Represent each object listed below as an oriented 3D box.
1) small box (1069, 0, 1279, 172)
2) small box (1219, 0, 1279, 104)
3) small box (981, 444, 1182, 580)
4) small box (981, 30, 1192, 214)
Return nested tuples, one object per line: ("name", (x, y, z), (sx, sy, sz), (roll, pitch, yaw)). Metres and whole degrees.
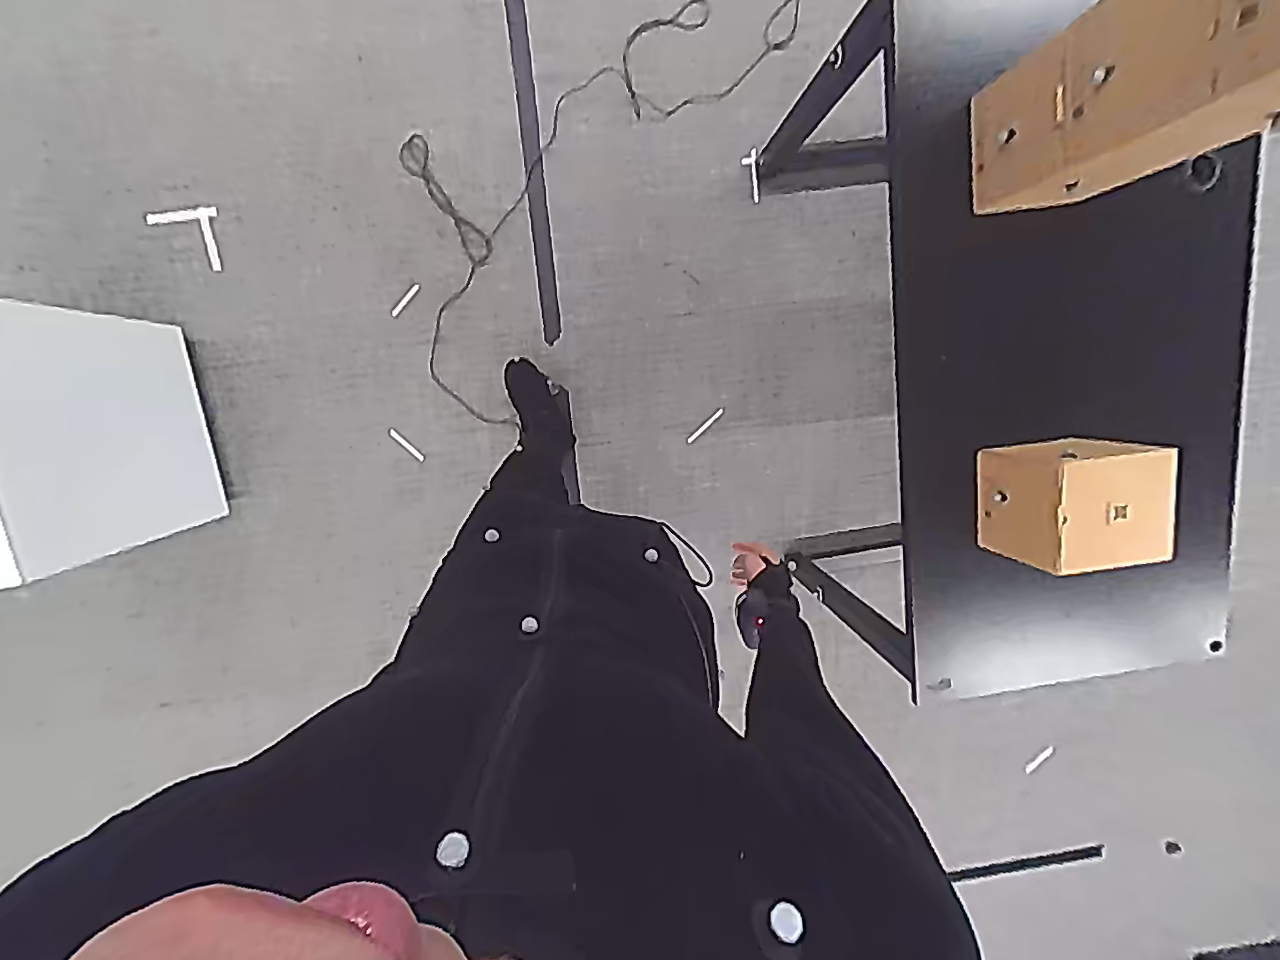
("small box", (0.618, -0.459, 0.584), (0.179, 0.176, 0.168), (-8, 99, -3))
("small box", (0.631, -0.432, 0.424), (0.179, 0.176, 0.168), (-8, 99, -3))
("small box", (0.669, 0.040, 0.837), (0.179, 0.176, 0.168), (-7, 100, -3))
("small box", (0.602, -0.485, 0.747), (0.179, 0.176, 0.168), (-9, 100, -3))
